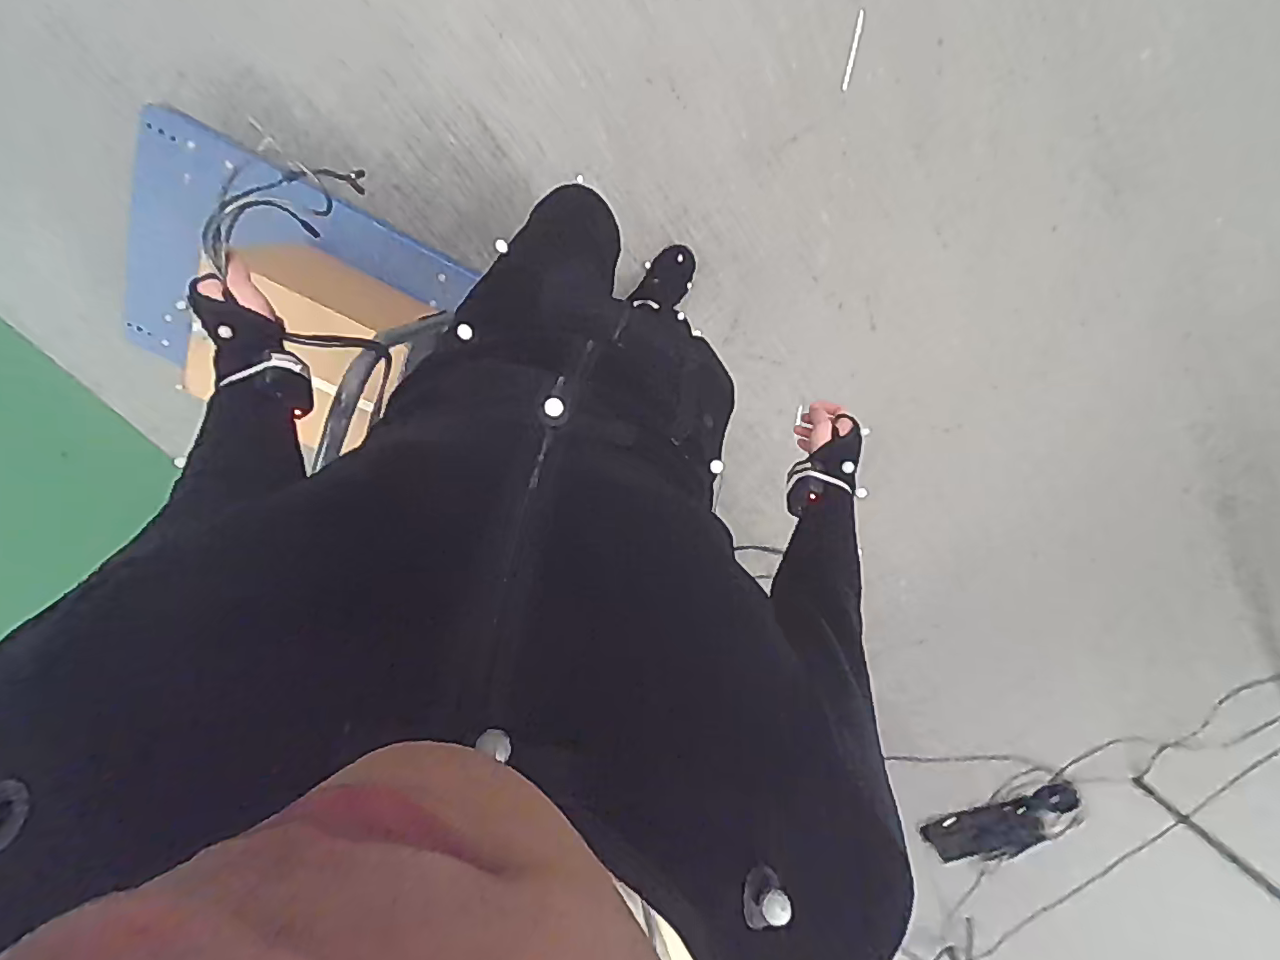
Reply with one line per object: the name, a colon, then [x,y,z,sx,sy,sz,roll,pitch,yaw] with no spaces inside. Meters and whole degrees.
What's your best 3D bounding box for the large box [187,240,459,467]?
large box: [-0.688,-0.293,1.223,0.408,0.320,0.320,26,114,-10]
